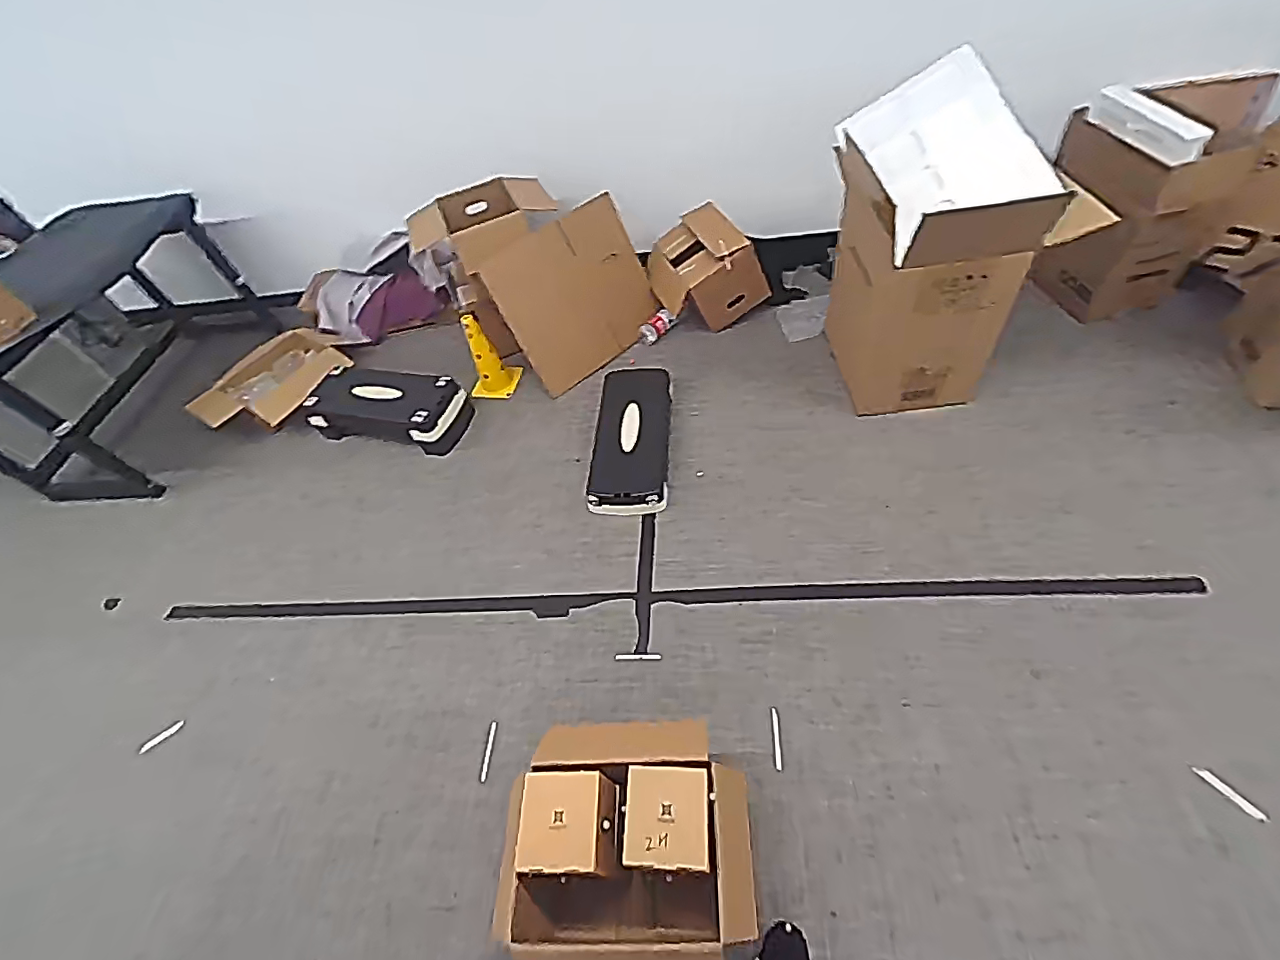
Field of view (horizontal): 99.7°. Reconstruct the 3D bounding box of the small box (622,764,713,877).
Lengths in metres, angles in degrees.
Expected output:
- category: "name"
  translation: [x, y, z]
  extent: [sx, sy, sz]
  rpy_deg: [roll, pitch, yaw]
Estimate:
- category: "small box"
  translation: [0.064, 0.711, 1.128]
  extent: [0.168, 0.176, 0.179]
  rpy_deg: [-2, 53, 10]
